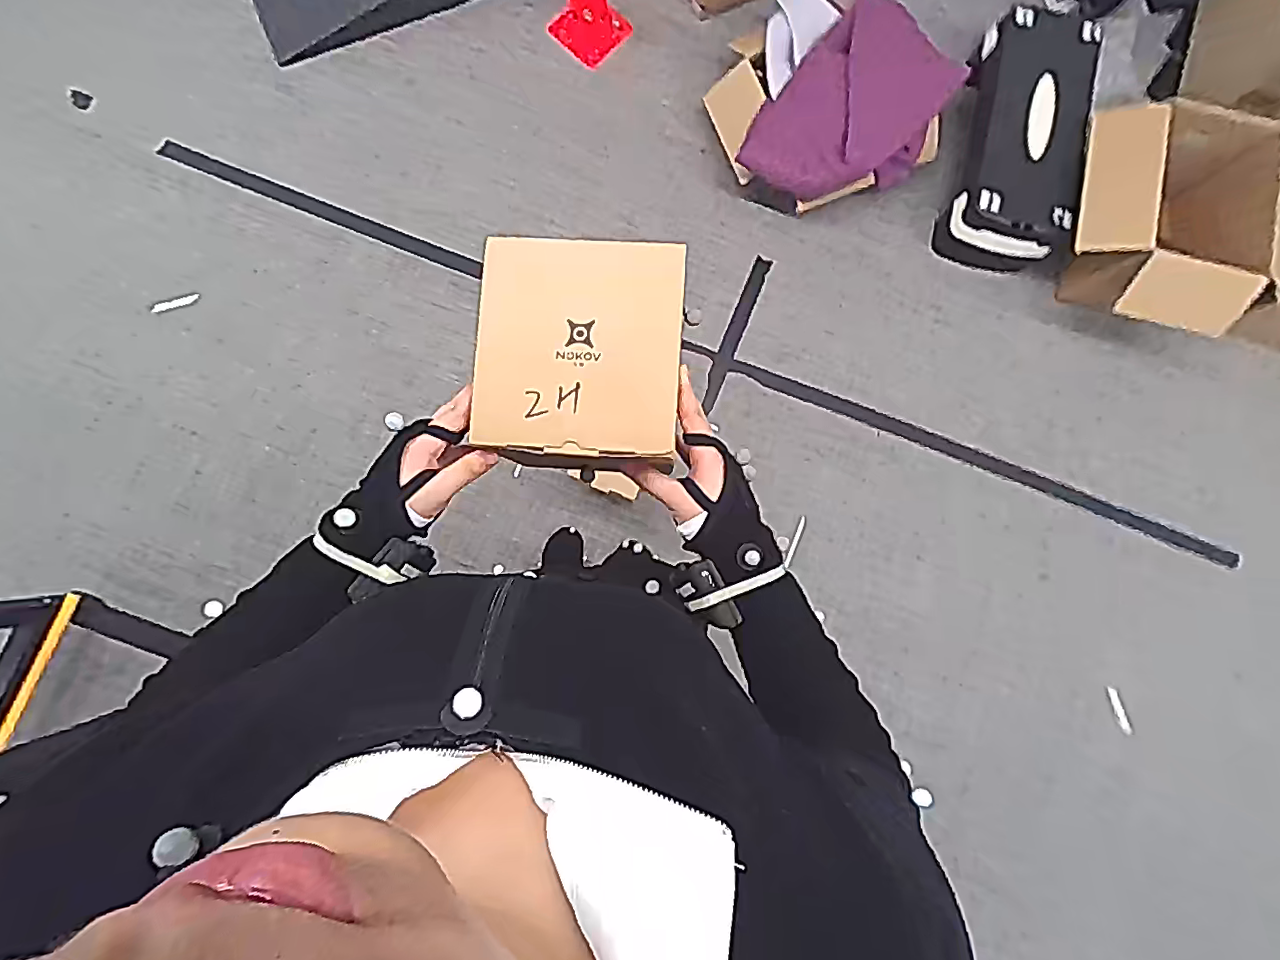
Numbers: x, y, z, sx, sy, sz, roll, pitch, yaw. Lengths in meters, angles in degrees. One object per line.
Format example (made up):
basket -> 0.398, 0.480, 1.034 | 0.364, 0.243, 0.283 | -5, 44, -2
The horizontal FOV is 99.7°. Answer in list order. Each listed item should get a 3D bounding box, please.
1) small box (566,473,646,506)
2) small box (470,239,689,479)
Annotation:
small box -> -0.058, -0.046, 1.284 | 0.168, 0.176, 0.179 | 22, 84, 1
small box -> -0.045, -0.099, 0.509 | 0.168, 0.176, 0.179 | 3, 85, 3
